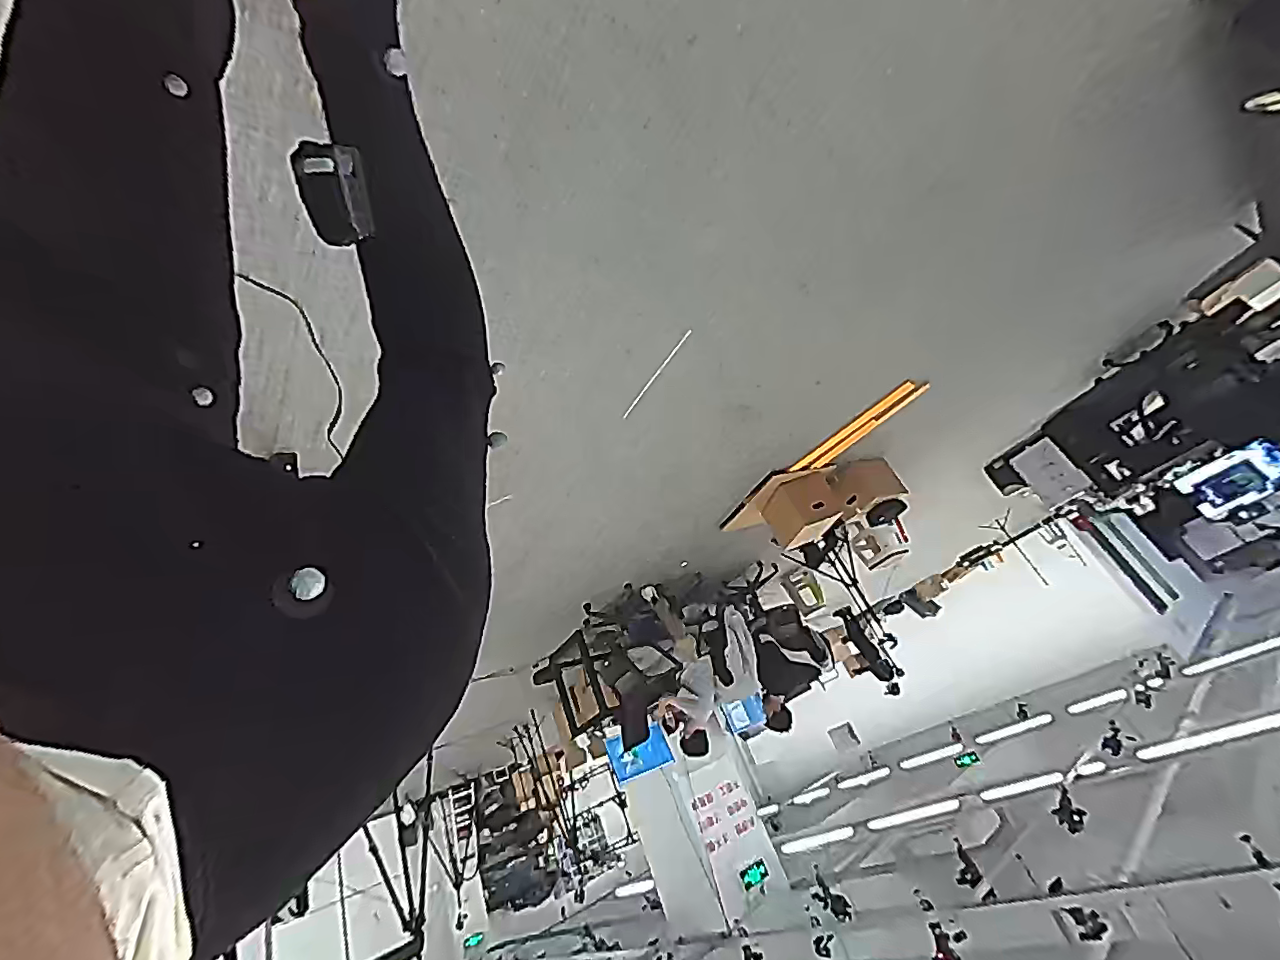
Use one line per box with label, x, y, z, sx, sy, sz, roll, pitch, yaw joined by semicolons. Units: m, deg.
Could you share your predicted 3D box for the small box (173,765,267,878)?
small box;-0.989;0.793;1.270;0.168;0.176;0.179;0;145;-39
